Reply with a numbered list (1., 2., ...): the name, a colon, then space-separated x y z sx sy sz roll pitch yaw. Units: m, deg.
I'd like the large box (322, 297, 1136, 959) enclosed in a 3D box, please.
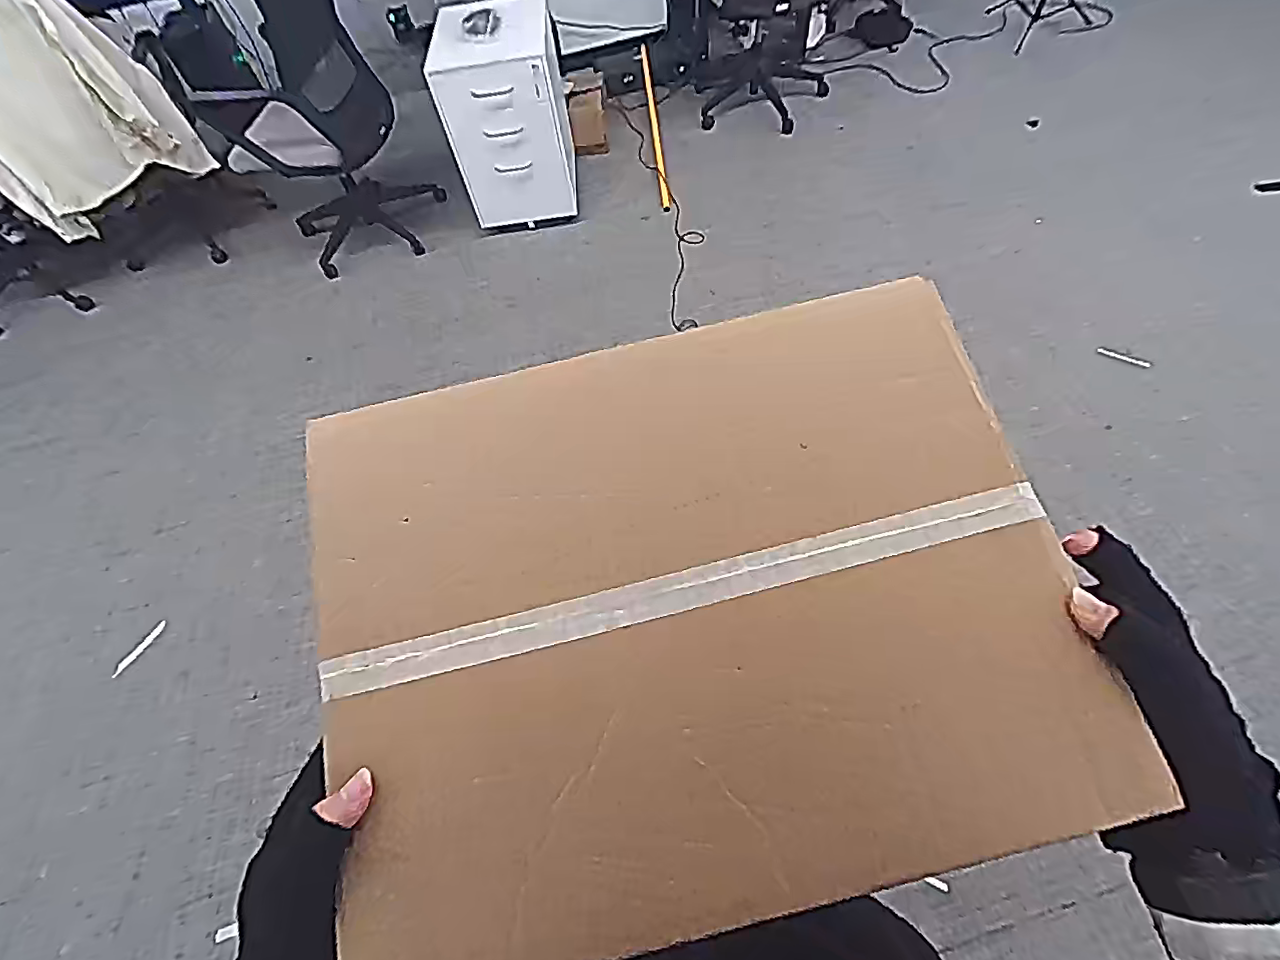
1. large box: 0.033 0.111 0.451 0.408 0.320 0.320 -15 72 -1
